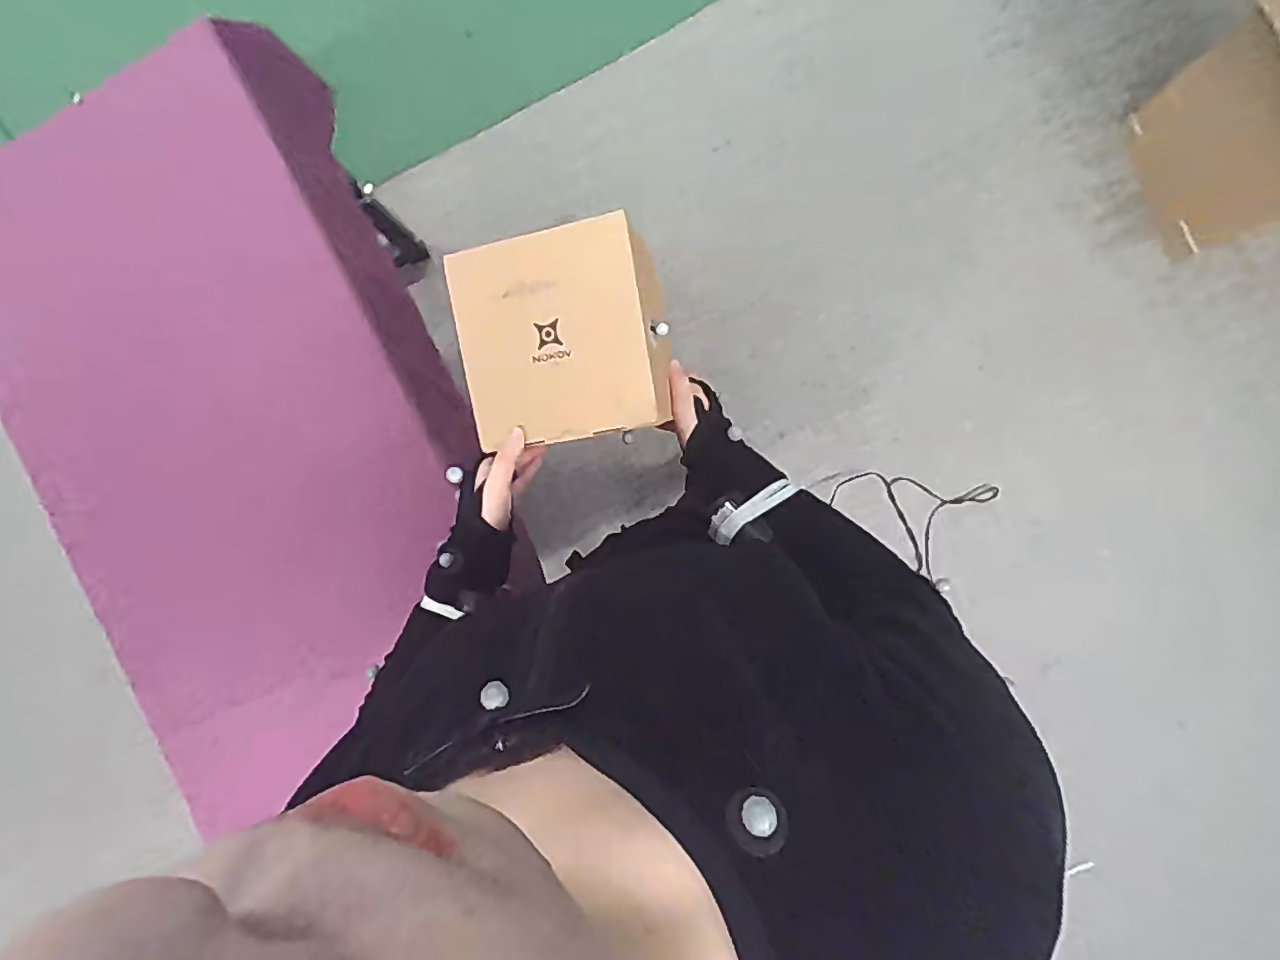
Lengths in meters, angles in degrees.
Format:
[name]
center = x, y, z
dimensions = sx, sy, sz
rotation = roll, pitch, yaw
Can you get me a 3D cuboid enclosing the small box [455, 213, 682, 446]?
[small box]
center = -0.055, -0.136, 0.539
dimensions = 0.168, 0.176, 0.179
rotation = -6, 97, 12
